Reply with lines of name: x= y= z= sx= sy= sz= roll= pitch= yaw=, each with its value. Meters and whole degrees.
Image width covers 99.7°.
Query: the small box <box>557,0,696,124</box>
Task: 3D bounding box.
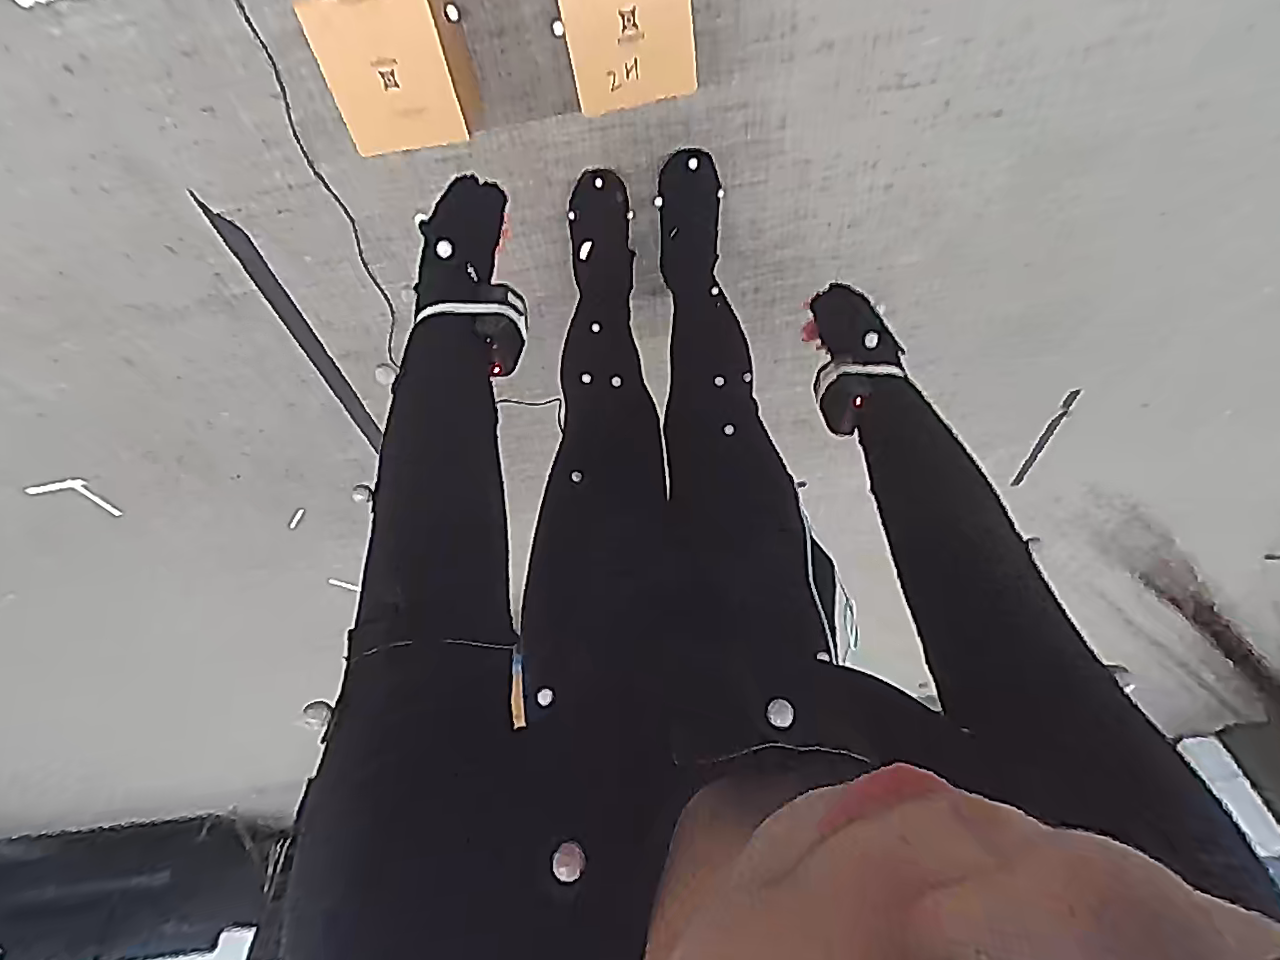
small box: x=-0.022 y=-0.632 z=0.747 sx=0.168 sy=0.176 sz=0.179 roll=-9 pitch=139 yaw=5

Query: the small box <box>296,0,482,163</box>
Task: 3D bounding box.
small box: x=-0.338 y=-0.585 z=0.770 sx=0.168 sy=0.176 sz=0.179 roll=-6 pitch=140 yaw=2
